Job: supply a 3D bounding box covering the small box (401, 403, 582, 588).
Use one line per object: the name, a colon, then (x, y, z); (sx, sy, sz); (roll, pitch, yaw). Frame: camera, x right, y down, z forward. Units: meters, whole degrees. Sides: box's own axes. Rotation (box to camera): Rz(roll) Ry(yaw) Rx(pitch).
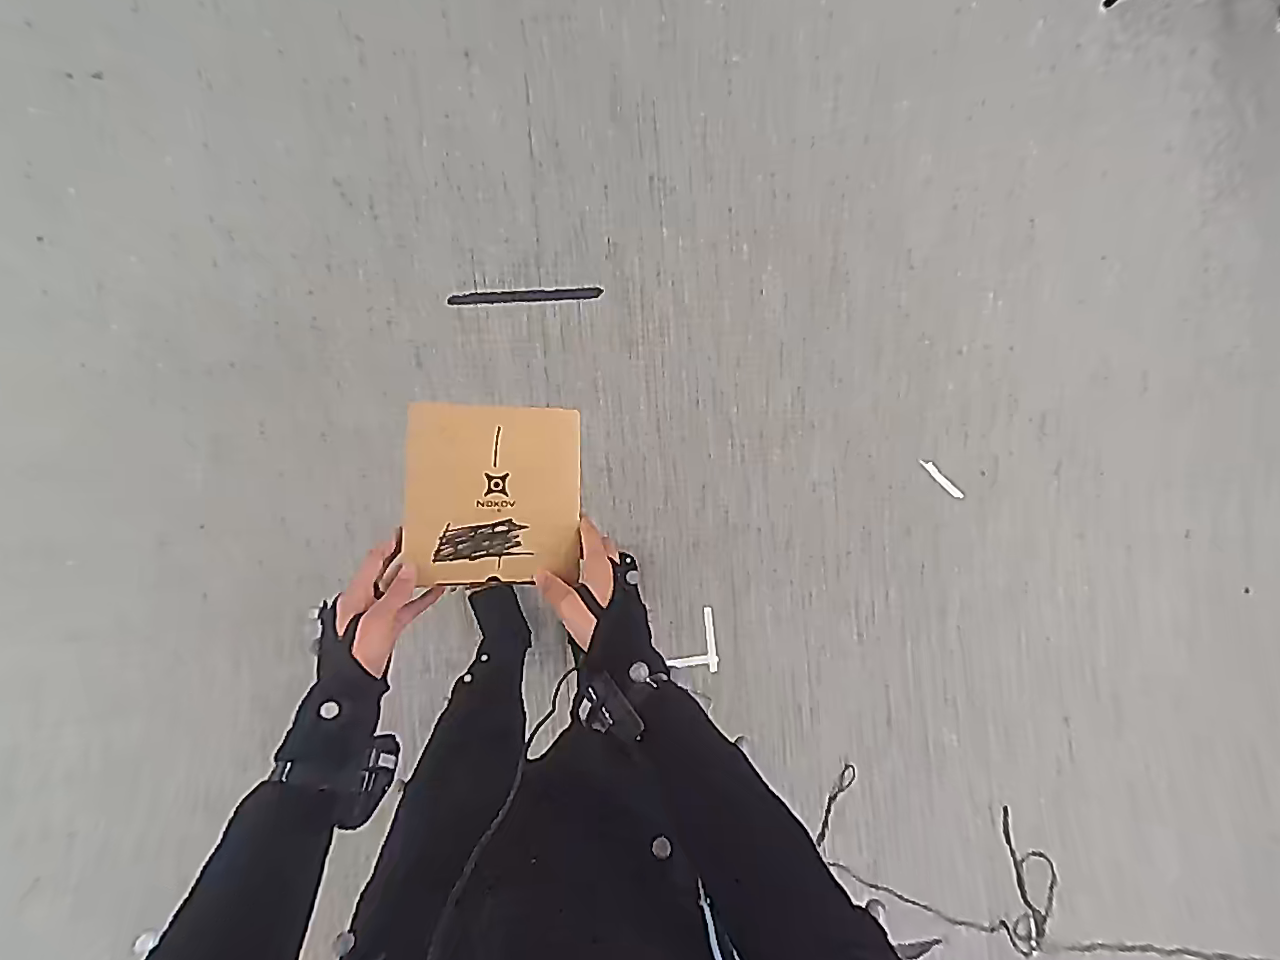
small box: (-0.157, 0.024, 0.600); (0.168, 0.176, 0.179); (2, 82, -14)
